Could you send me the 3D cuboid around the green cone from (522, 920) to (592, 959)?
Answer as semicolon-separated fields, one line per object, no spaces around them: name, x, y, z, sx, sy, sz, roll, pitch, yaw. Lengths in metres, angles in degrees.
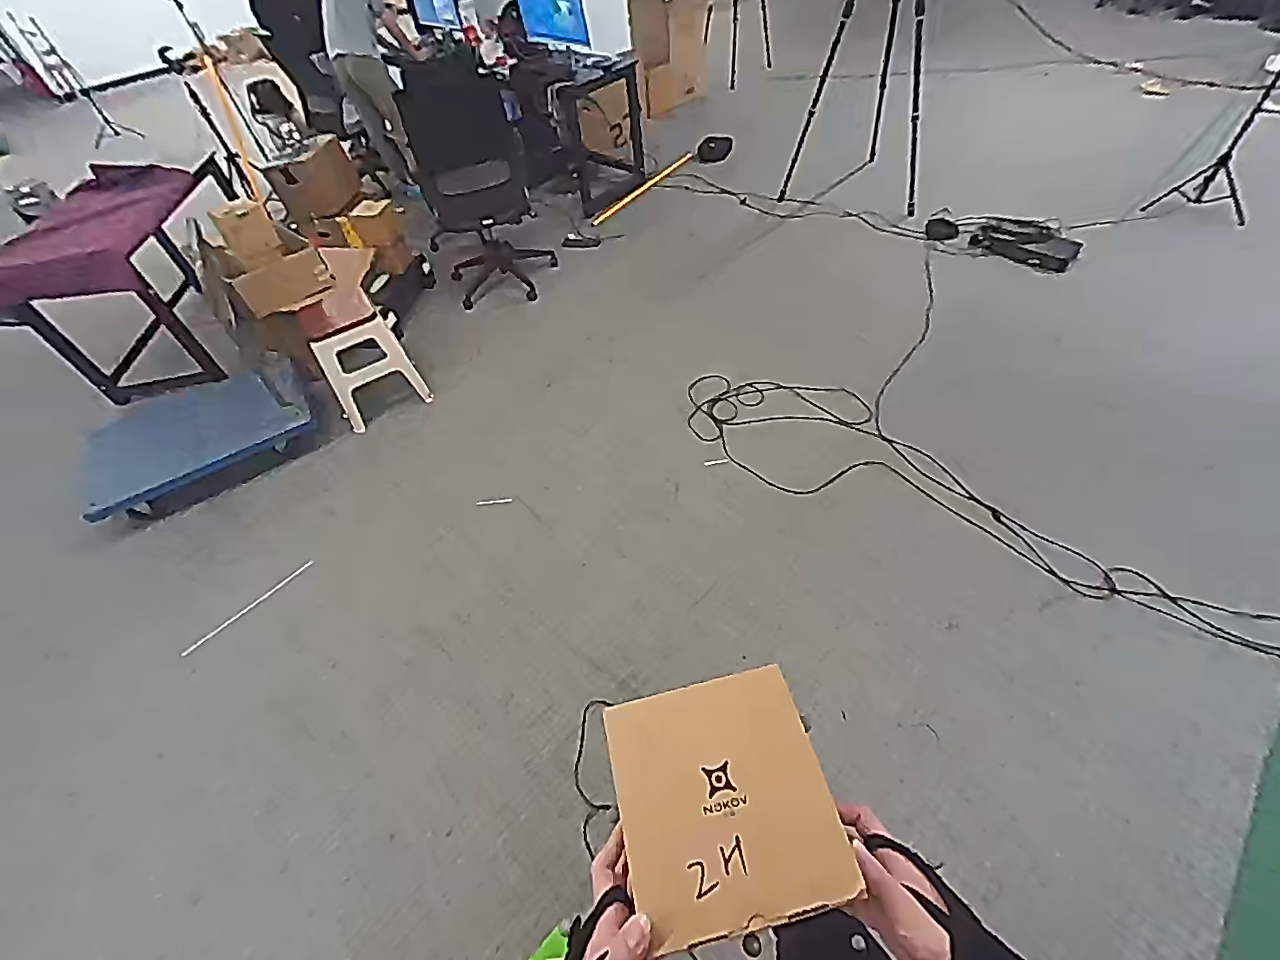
green cone;-0.202;1.020;1.052;0.202;0.368;0.200;-39;57;-24

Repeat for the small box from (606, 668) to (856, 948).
small box;0.069;0.305;0.503;0.168;0.176;0.179;-13;50;-3
